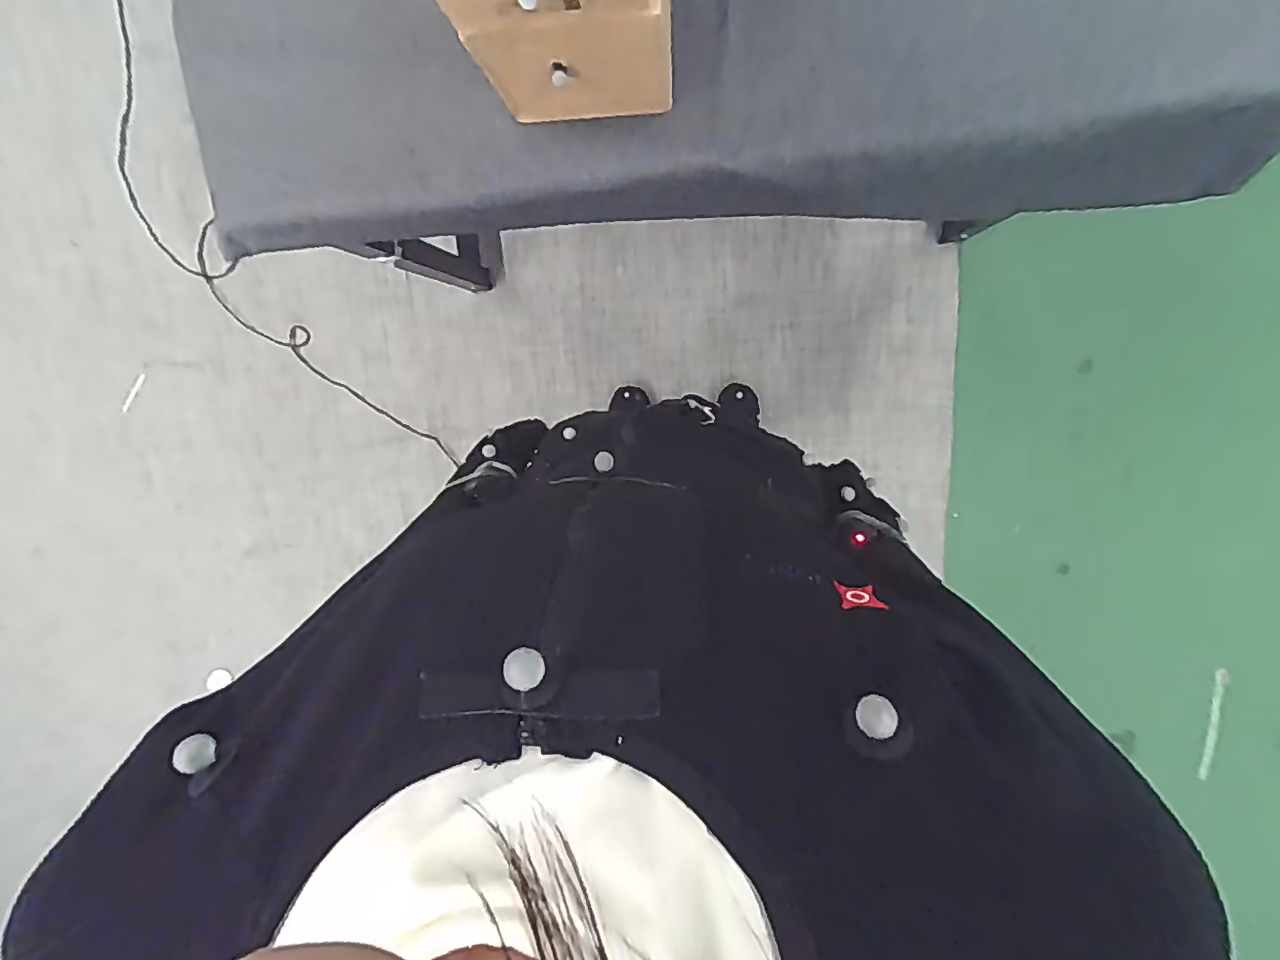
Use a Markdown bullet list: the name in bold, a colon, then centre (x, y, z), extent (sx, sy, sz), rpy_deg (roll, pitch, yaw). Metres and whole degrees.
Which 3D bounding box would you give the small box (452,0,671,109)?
- **small box**: centre (-0.063, -0.479, 0.510), extent (0.179, 0.176, 0.168), rpy_deg (1, 101, 6)

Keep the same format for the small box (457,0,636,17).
- **small box**: centre (-0.083, -0.454, 0.348), extent (0.168, 0.176, 0.179), rpy_deg (0, 102, 6)
